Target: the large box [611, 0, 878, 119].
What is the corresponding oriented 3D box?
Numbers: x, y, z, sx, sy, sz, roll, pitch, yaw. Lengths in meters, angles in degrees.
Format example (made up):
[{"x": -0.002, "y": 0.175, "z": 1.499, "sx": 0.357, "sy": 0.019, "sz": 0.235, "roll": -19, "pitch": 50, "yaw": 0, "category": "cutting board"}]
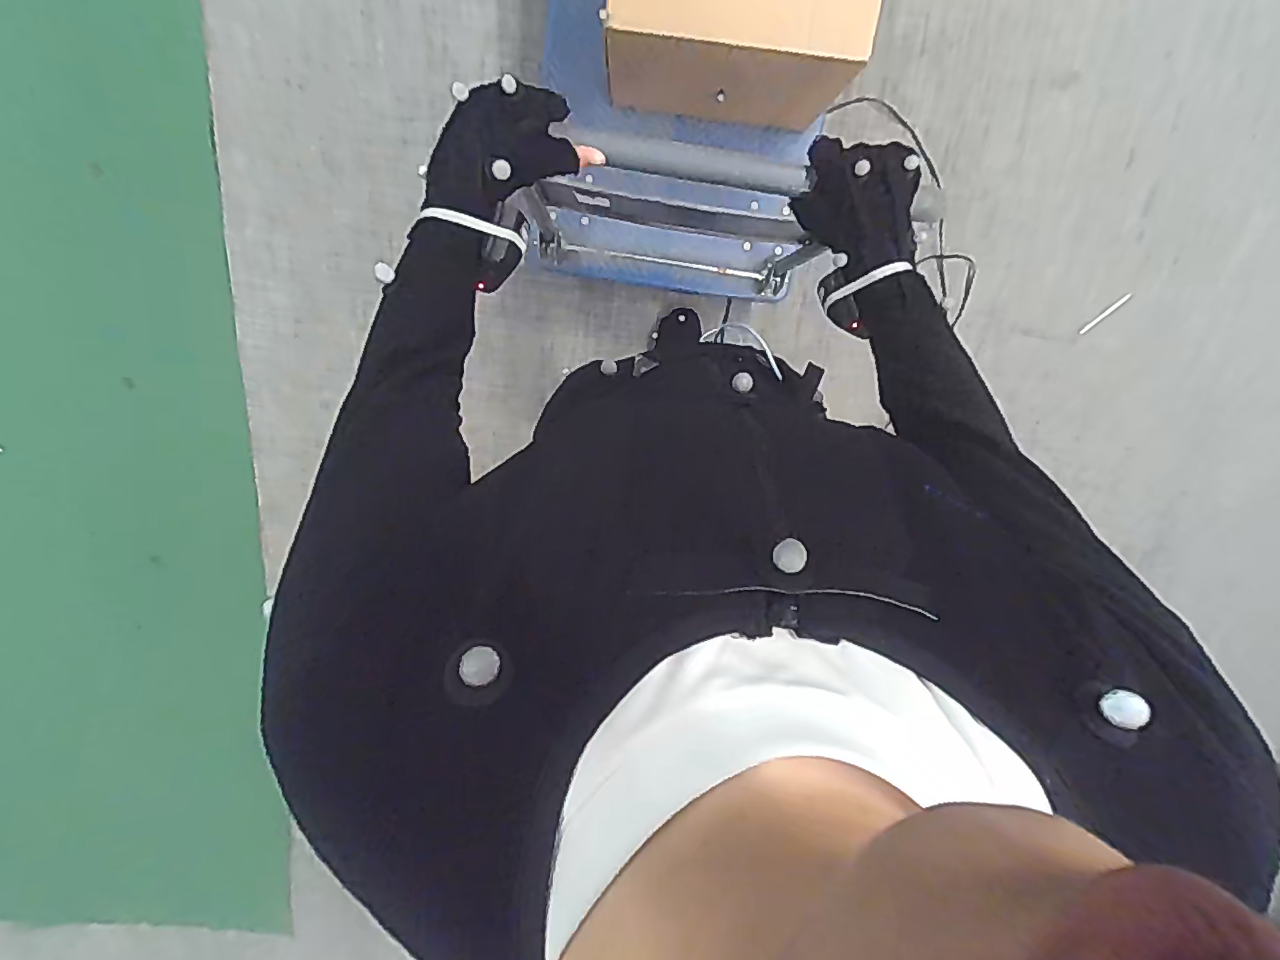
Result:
[{"x": 0.167, "y": -0.853, "z": 0.922, "sx": 0.408, "sy": 0.320, "sz": 0.320, "roll": 5, "pitch": 107, "yaw": -1, "category": "large box"}]
